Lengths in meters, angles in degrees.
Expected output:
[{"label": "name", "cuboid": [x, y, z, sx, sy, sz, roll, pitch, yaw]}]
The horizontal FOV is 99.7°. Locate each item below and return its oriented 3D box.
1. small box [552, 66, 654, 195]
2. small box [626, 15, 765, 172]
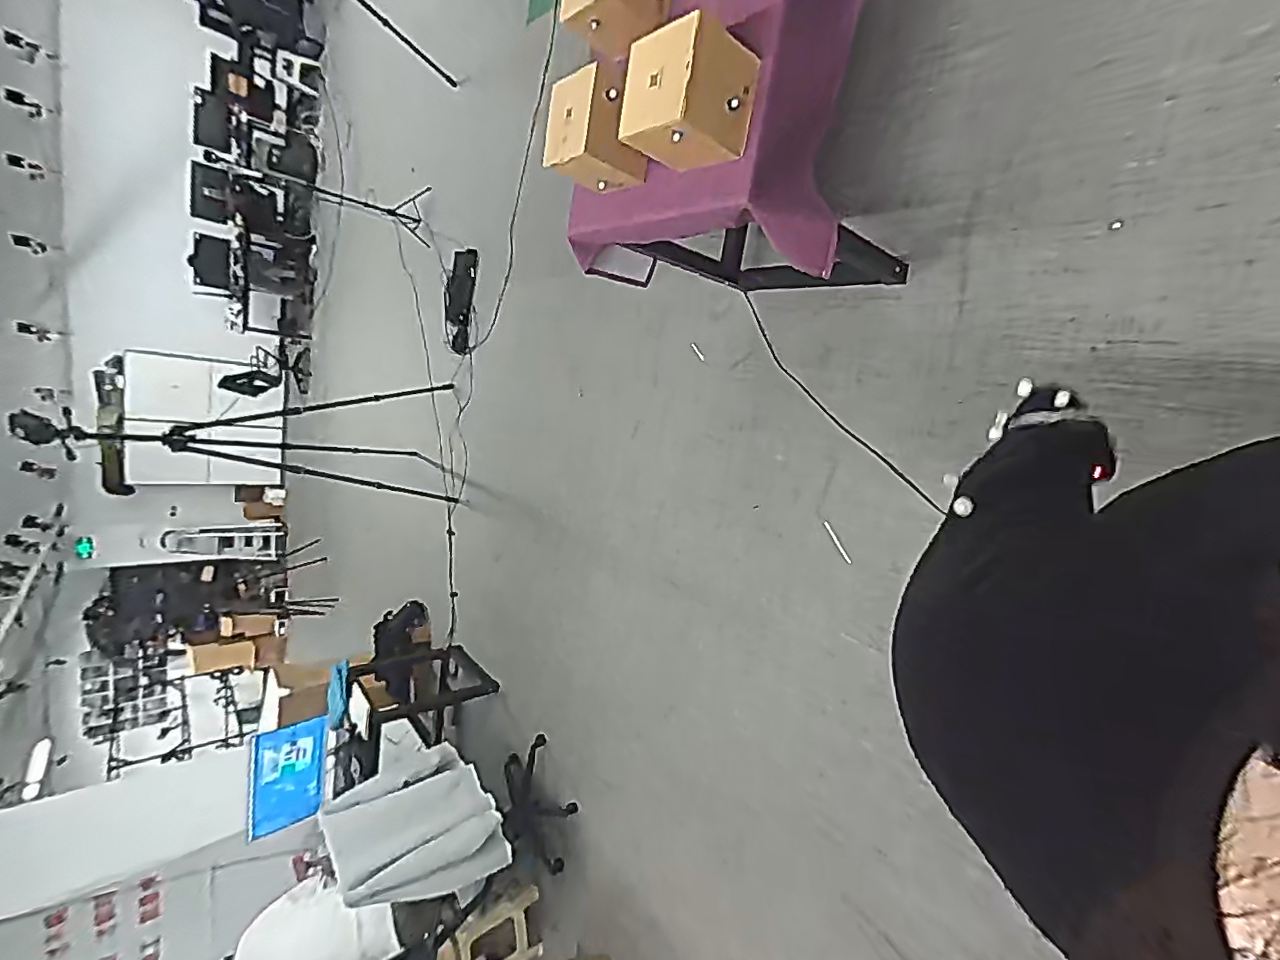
[{"label": "small box", "cuboid": [-0.073, -0.769, 1.211, 0.168, 0.176, 0.179, 22, 106, 47]}, {"label": "small box", "cuboid": [0.102, -0.703, 1.013, 0.179, 0.176, 0.168, 21, 105, 46]}]
